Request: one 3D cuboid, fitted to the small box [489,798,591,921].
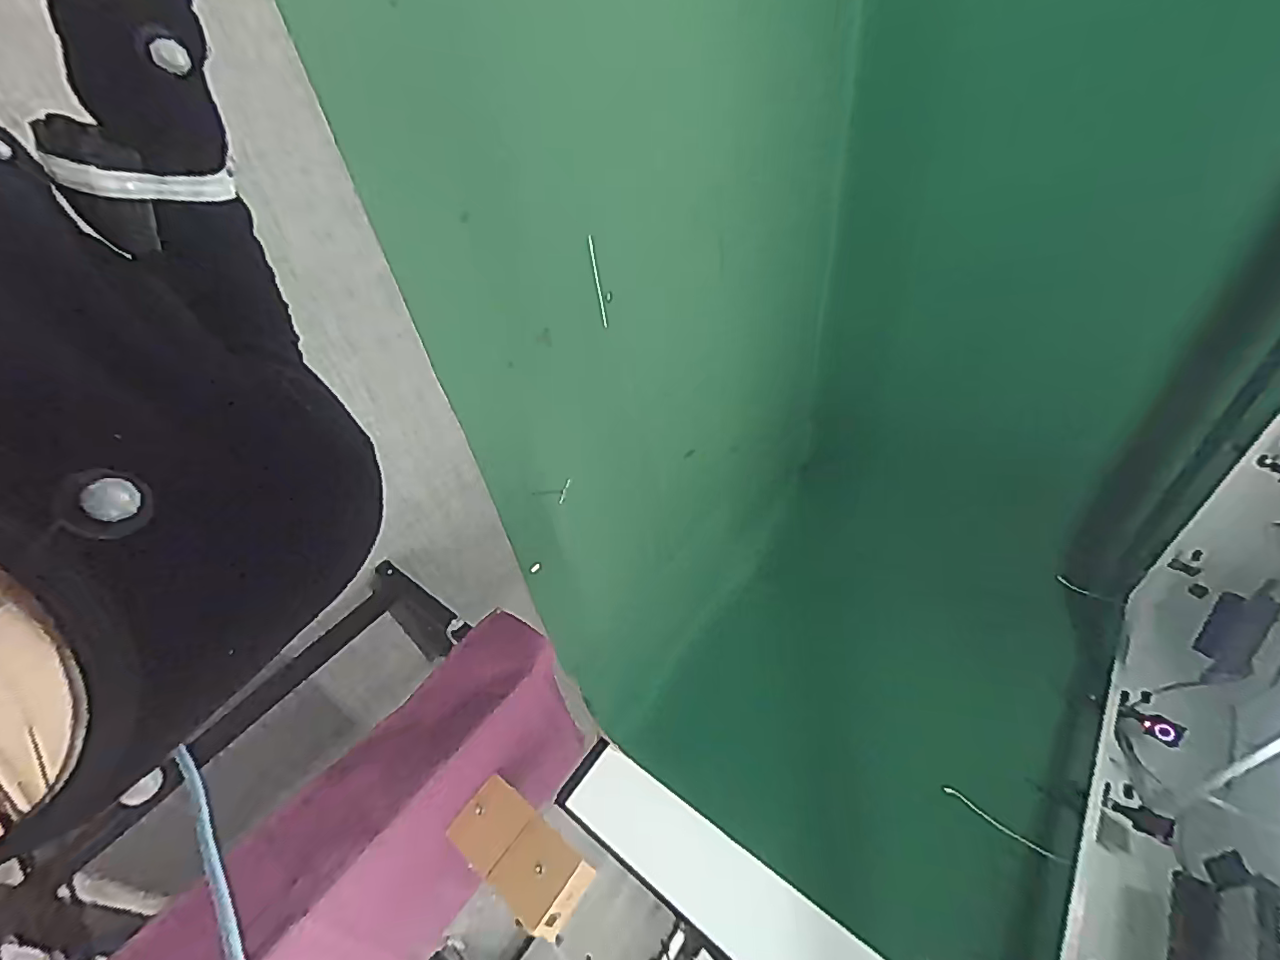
[{"bbox_3d":[-0.255,0.951,1.360,0.179,0.176,0.168,-46,144,-29],"label":"small box"}]

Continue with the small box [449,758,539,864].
[{"bbox_3d":[-0.382,0.891,1.445,0.179,0.176,0.168,-46,144,-28],"label":"small box"}]
